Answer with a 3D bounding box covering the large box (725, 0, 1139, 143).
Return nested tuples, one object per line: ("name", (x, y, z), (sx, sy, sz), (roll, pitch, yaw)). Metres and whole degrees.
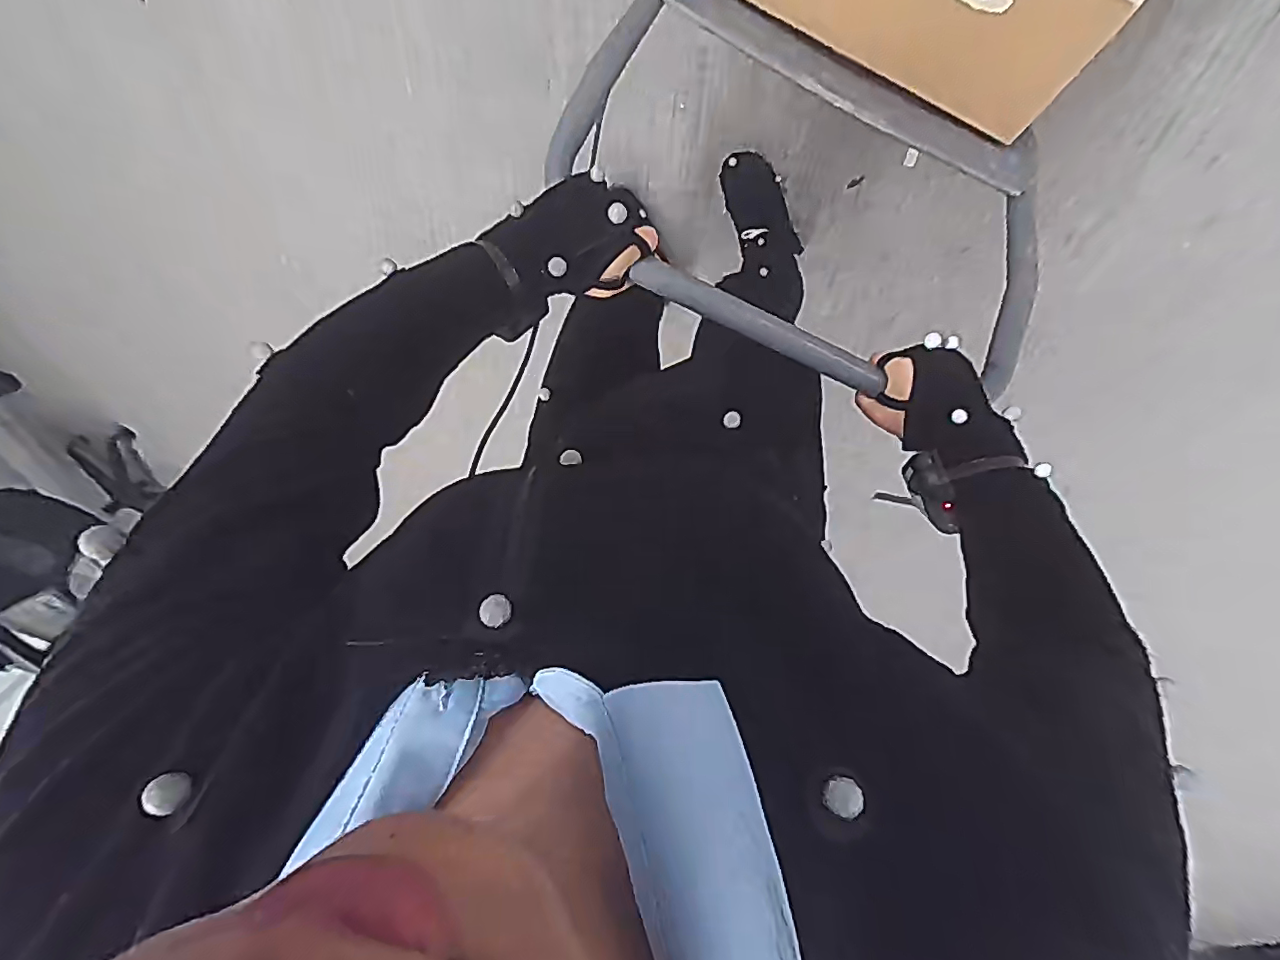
("large box", (0.338, -0.659, 0.565), (0.408, 0.320, 0.320), (23, 151, -7))
